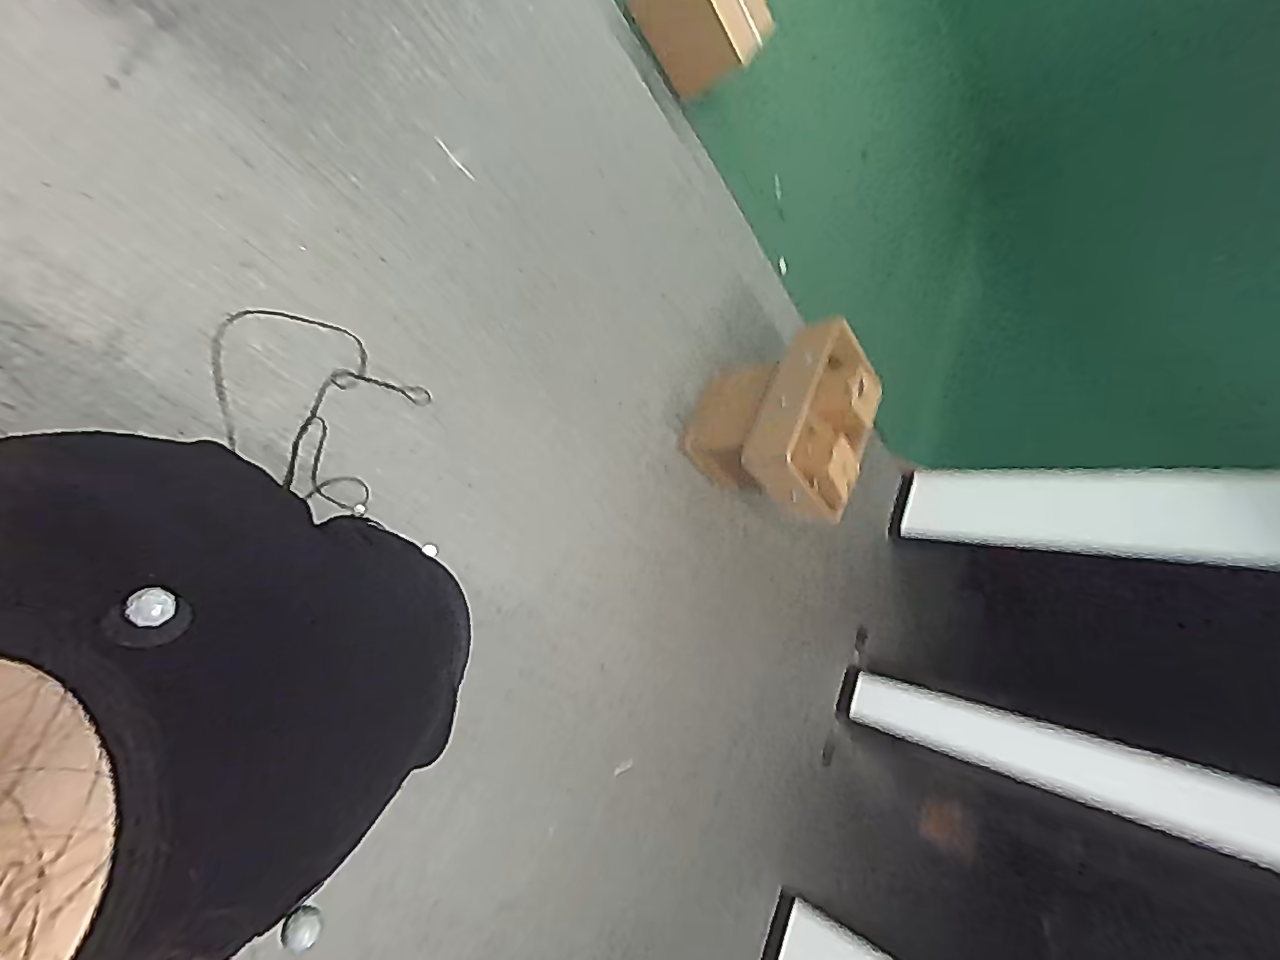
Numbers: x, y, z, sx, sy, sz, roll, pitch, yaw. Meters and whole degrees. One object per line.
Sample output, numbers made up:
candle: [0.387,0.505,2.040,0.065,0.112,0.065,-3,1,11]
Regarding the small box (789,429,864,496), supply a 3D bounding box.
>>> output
small box: [0.654,-0.057,1.906,0.179,0.176,0.168,48,61,-30]
